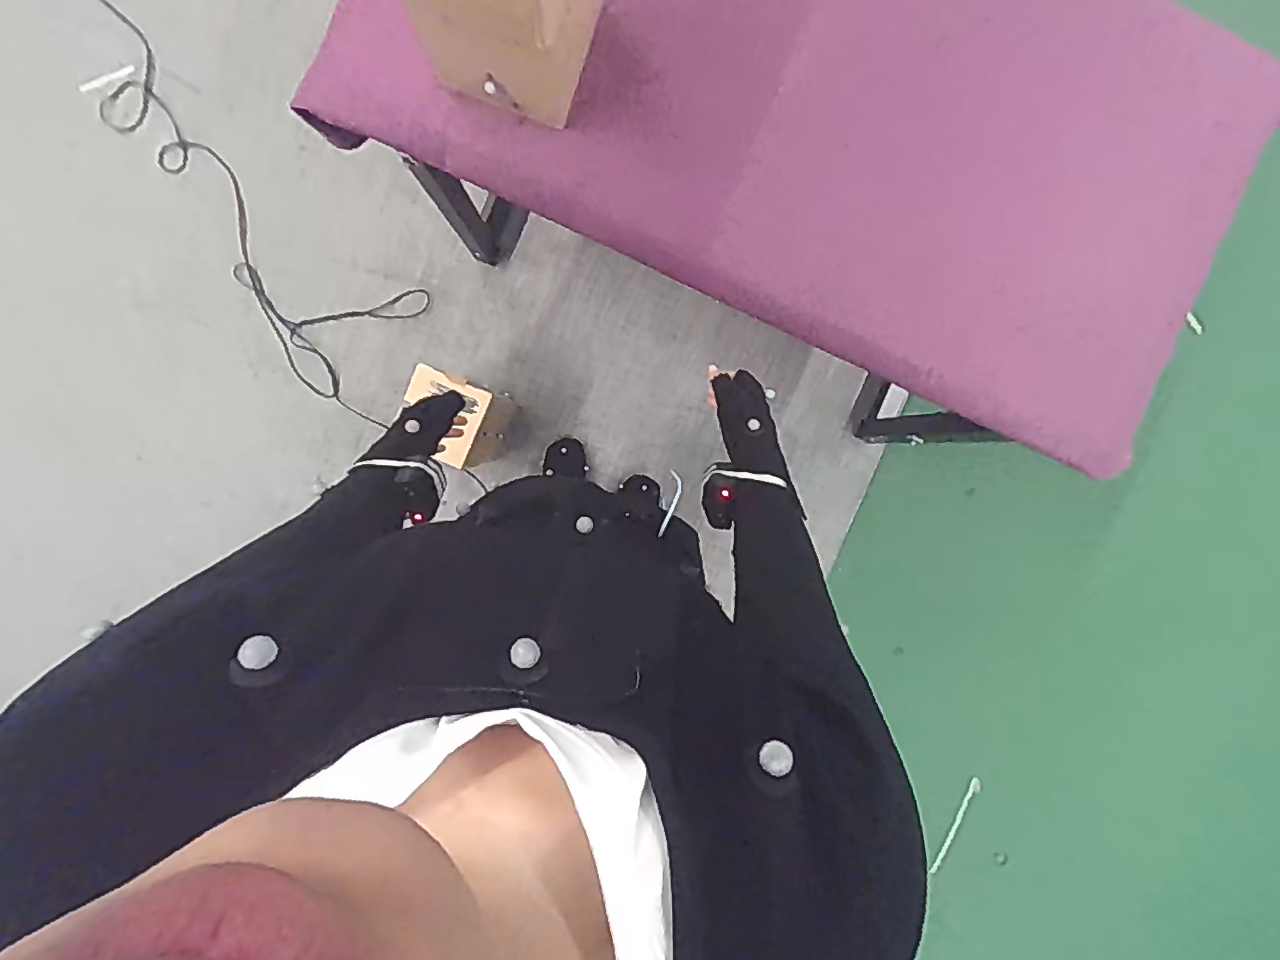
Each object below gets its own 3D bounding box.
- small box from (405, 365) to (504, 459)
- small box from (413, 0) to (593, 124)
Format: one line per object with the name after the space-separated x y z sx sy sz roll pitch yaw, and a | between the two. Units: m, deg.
-0.456 -0.168 1.362 0.168 0.176 0.179 25 93 -5 | small box
-0.153 -0.568 0.623 0.168 0.176 0.179 19 92 -6 | small box
